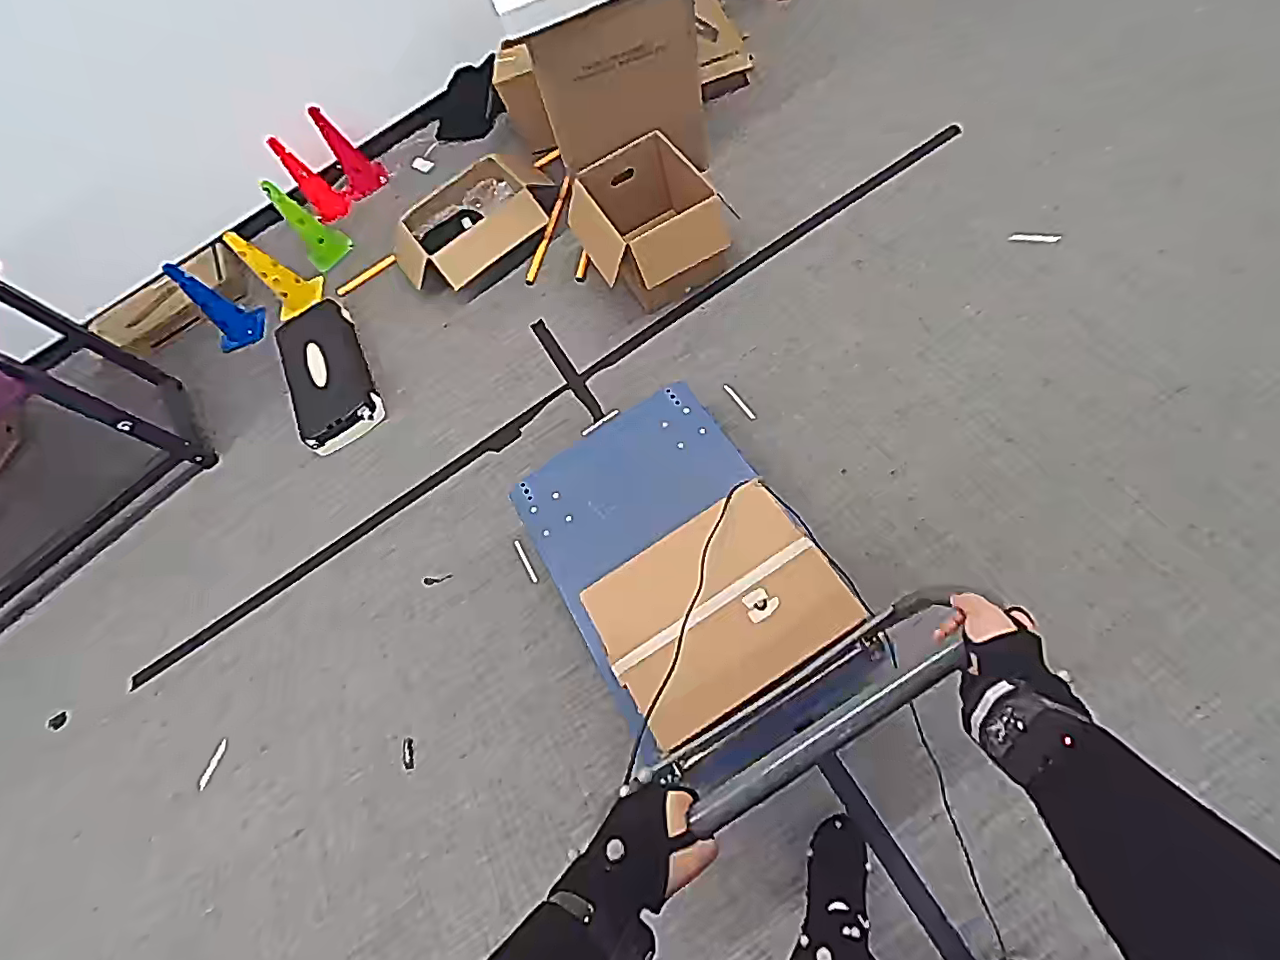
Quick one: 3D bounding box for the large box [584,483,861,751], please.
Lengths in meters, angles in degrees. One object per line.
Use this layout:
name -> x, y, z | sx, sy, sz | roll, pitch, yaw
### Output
large box -> 0.163, 0.286, 1.086 | 0.408, 0.320, 0.320 | -33, 63, -3
